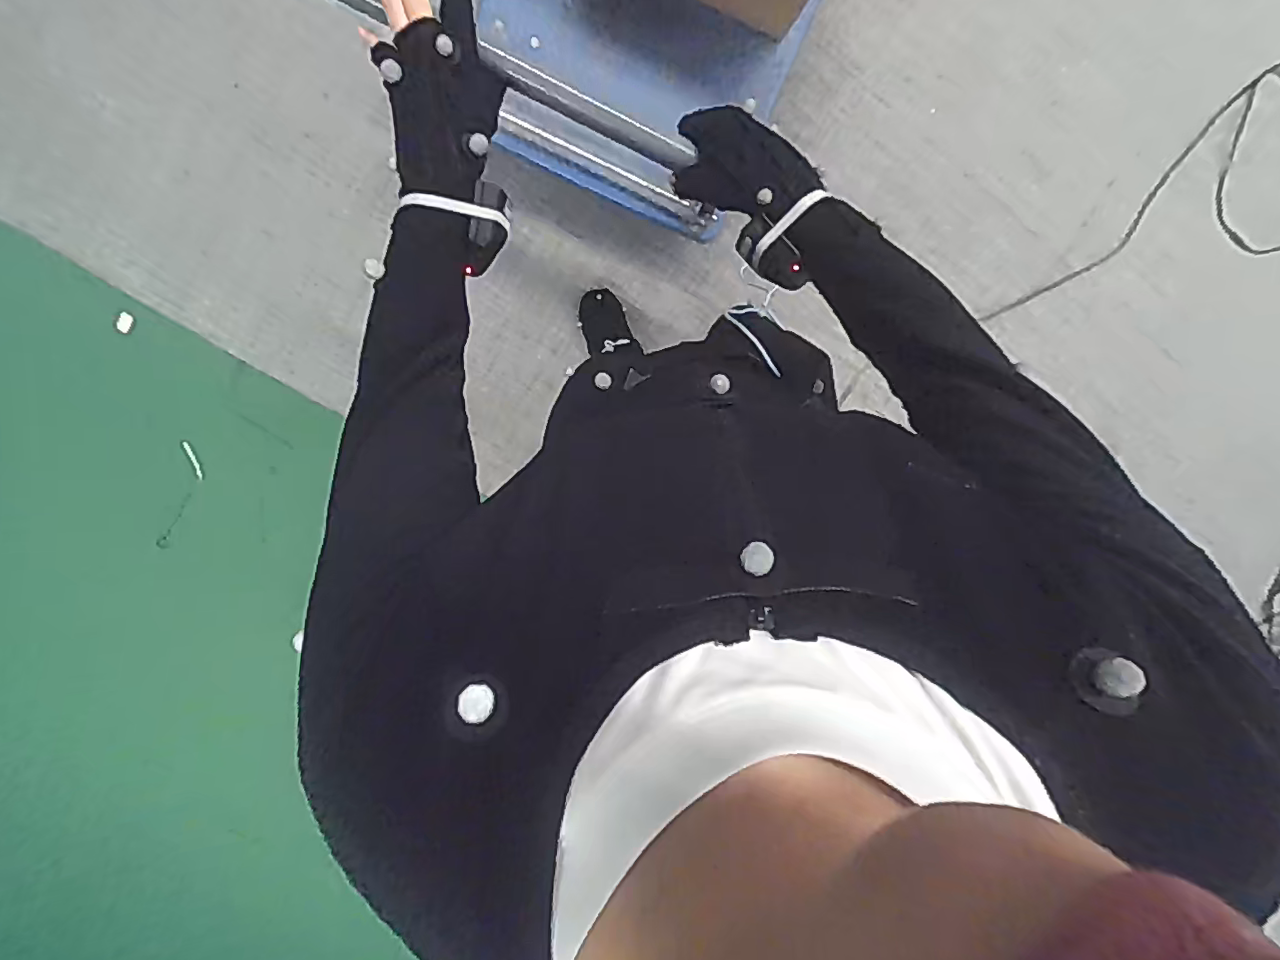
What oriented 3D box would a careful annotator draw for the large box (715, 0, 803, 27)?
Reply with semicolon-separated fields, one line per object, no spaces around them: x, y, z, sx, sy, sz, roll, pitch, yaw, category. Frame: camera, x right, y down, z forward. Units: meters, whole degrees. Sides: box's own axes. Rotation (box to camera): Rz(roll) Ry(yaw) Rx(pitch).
0.133;-0.989;0.815;0.408;0.320;0.320;18;110;-7;large box
